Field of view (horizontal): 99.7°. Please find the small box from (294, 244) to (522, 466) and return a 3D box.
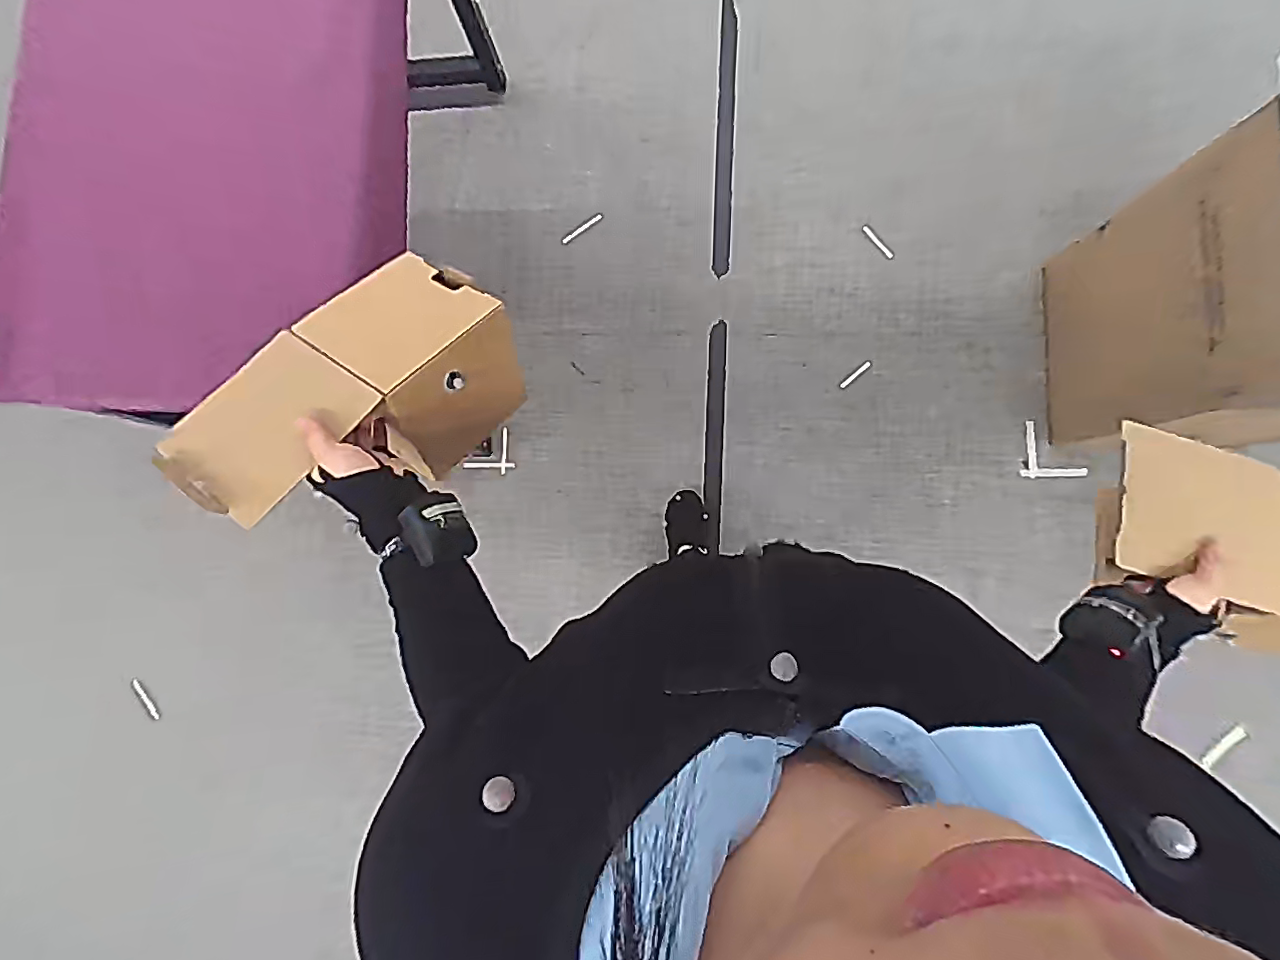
[{"bbox_3d":[-0.268,-0.149,0.673,0.168,0.176,0.179,33,63,17],"label":"small box"}]
